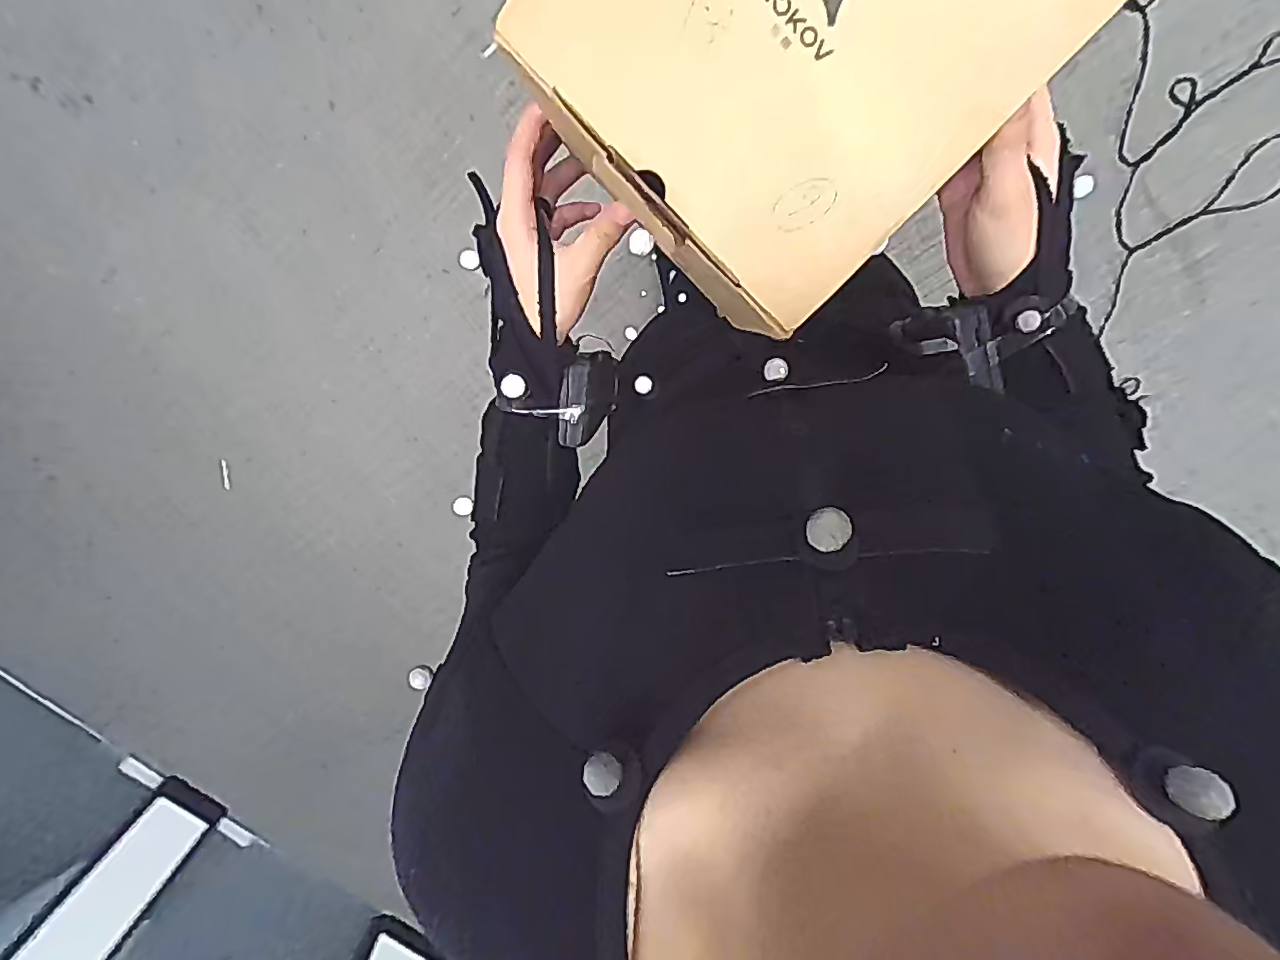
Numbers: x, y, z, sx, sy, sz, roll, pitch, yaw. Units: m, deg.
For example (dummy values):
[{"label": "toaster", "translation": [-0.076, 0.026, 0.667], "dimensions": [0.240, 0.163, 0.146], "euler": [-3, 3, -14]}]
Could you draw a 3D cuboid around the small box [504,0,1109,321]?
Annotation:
[{"label": "small box", "translation": [0.067, -0.204, 0.281], "dimensions": [0.168, 0.176, 0.179], "euler": [43, 105, -9]}]
